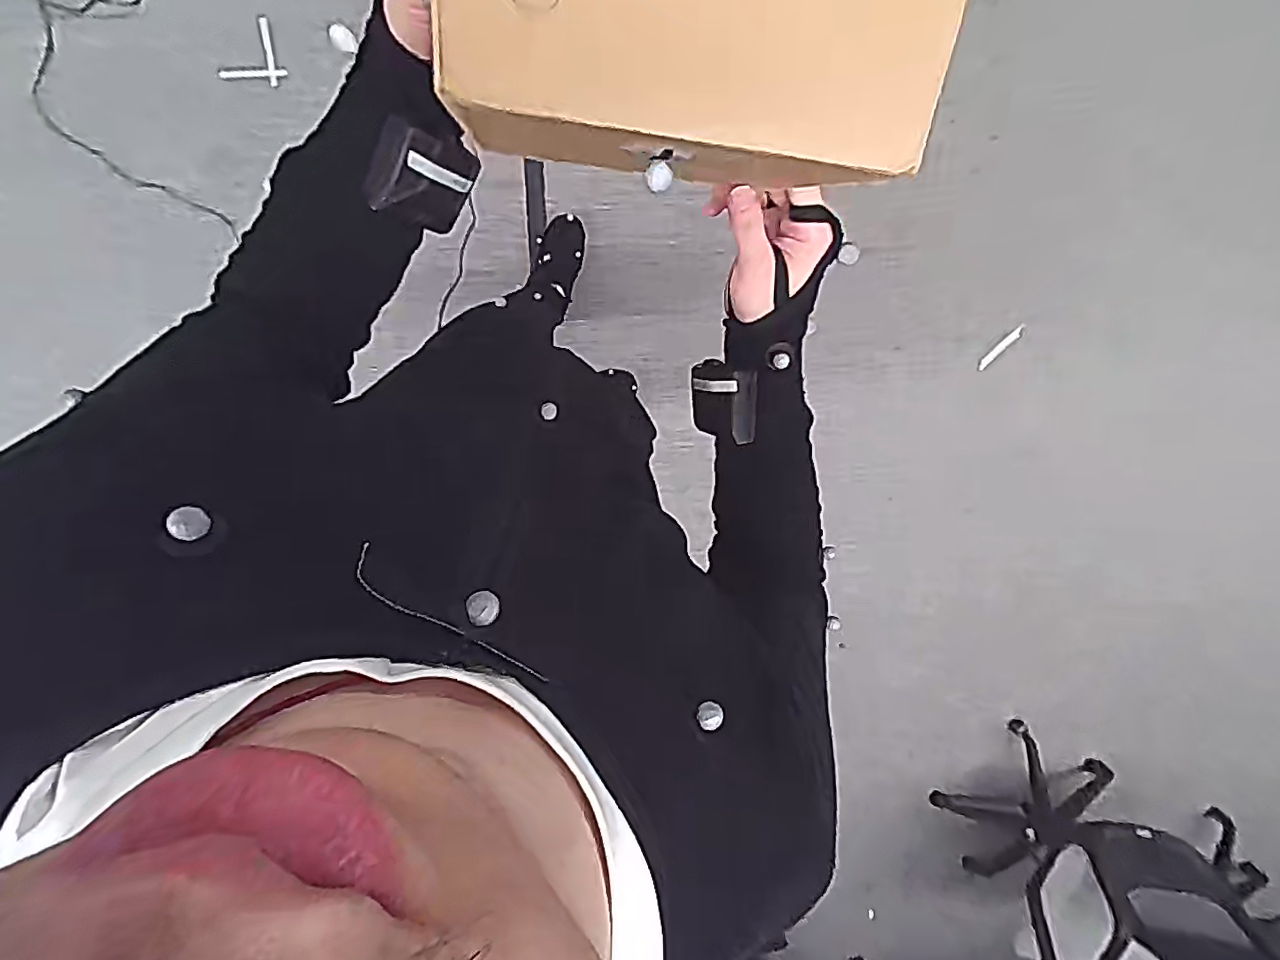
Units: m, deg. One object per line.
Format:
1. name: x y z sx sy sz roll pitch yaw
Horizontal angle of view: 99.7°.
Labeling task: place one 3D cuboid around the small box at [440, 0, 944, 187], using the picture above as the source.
1. small box: 0.013 -0.231 0.236 0.179 0.176 0.168 0 116 -13
